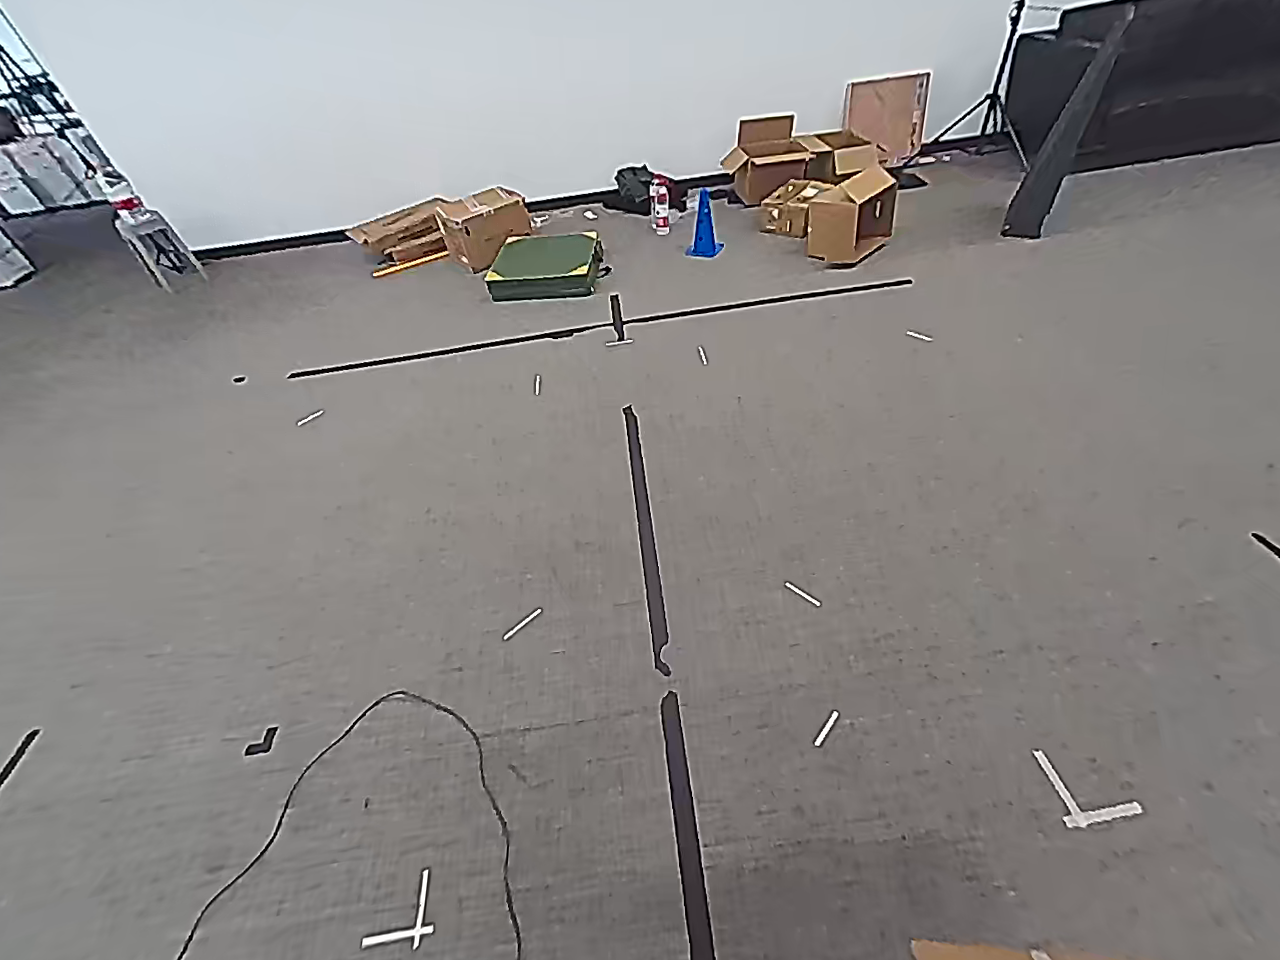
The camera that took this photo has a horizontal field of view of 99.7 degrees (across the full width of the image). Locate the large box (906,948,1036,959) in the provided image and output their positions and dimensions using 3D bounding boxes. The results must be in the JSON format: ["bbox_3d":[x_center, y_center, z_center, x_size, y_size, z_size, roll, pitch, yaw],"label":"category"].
[{"bbox_3d":[0.474,0.759,0.494,0.320,0.408,0.320,-4,87,11],"label":"large box"}]
